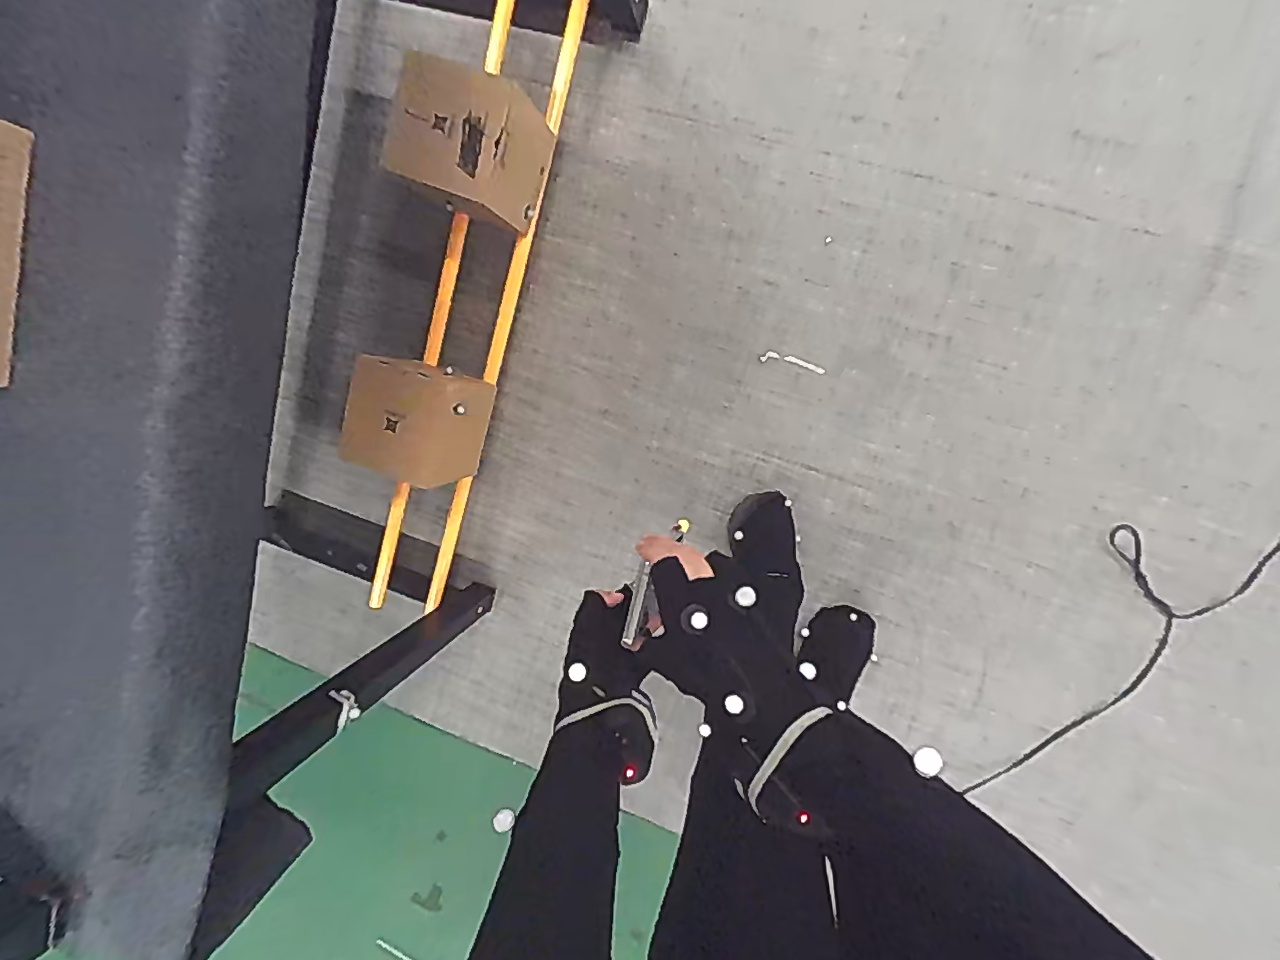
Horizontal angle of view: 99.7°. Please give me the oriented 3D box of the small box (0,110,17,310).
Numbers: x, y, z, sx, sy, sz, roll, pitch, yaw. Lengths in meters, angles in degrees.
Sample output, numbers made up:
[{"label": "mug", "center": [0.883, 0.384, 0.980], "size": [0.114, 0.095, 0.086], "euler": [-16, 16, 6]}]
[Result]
[{"label": "small box", "center": [-0.508, -0.173, 0.293], "size": [0.168, 0.176, 0.179], "euler": [22, 103, 8]}]

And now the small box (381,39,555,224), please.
[{"label": "small box", "center": [-0.253, -0.516, 0.831], "size": [0.179, 0.176, 0.168], "euler": [23, 102, 7]}]
